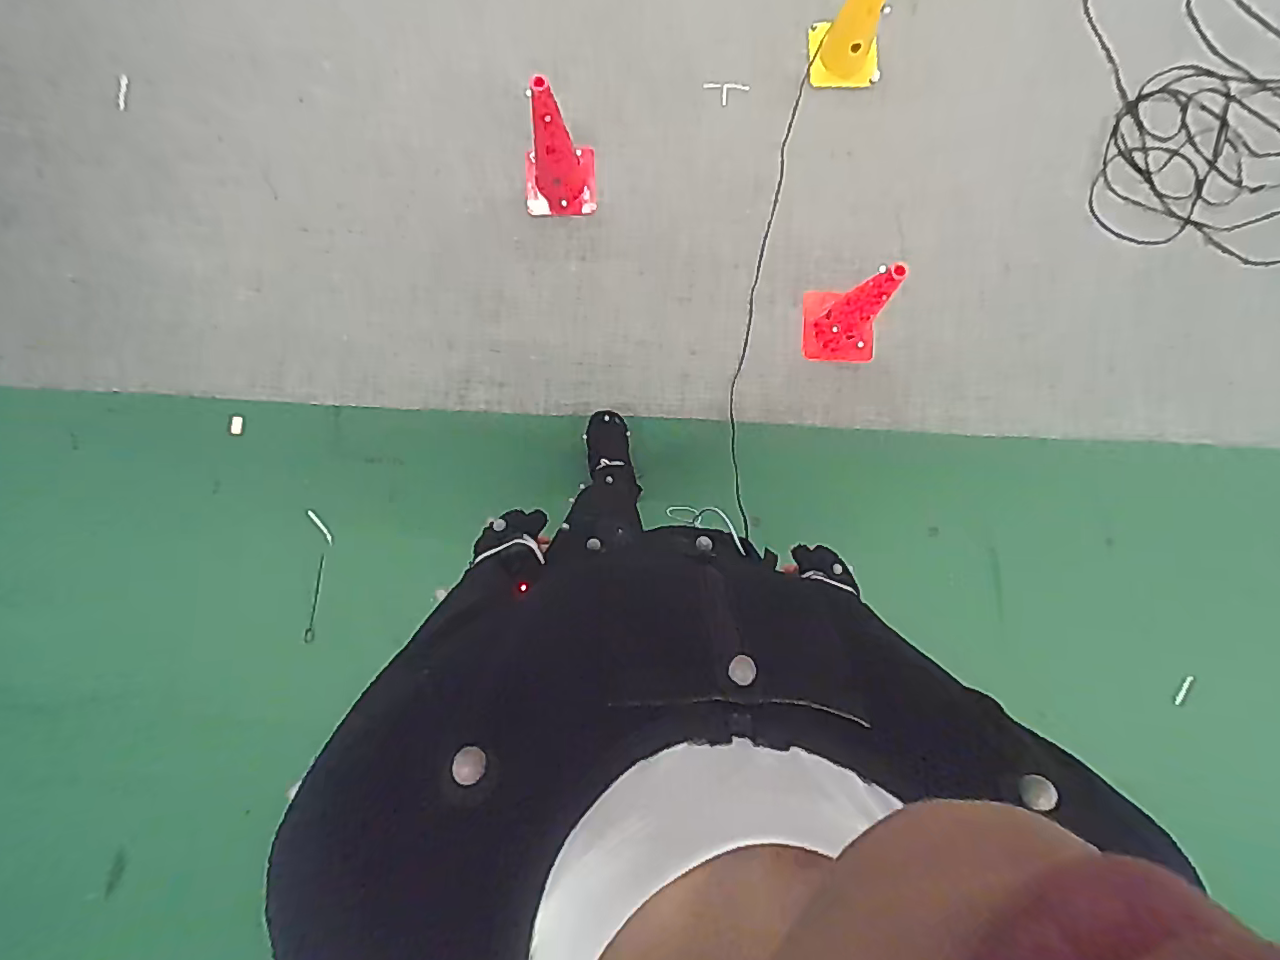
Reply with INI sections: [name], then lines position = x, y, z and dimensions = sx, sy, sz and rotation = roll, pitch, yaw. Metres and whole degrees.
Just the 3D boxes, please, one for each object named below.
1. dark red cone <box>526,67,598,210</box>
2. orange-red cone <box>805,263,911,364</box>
[dark red cone]
position = -0.218, -0.866, 1.359
dimensions = 0.202, 0.394, 0.201
rotation = -3, 87, -1
[orange-red cone]
position = 0.569, -0.445, 1.355
dimensions = 0.198, 0.360, 0.199
rotation = 3, 85, -1
